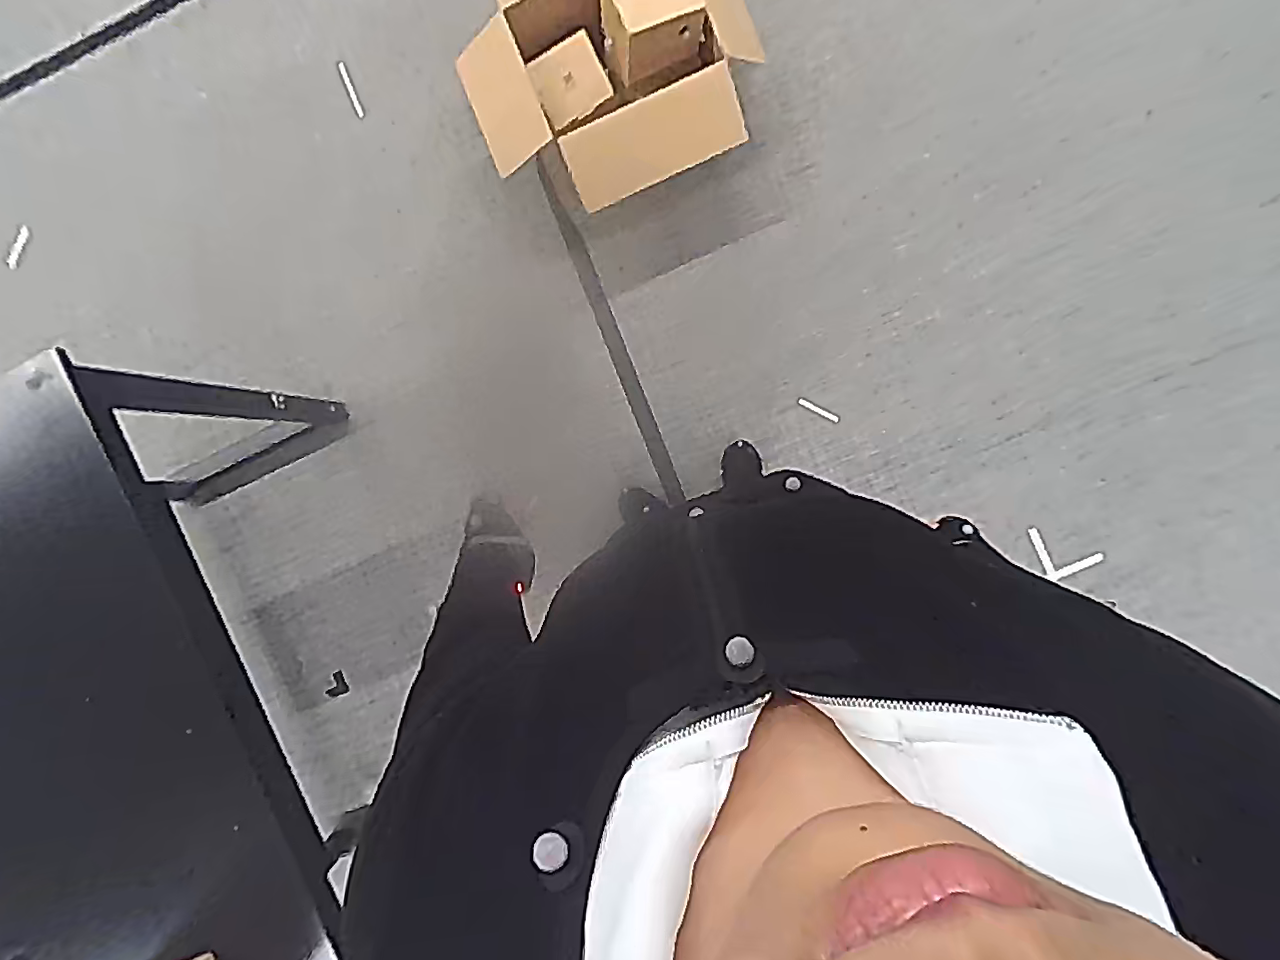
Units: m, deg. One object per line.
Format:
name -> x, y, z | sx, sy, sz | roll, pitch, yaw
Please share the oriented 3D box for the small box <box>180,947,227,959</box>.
small box -> -0.718, 0.846, 0.783 | 0.179, 0.176, 0.168 | -25, 91, 4
